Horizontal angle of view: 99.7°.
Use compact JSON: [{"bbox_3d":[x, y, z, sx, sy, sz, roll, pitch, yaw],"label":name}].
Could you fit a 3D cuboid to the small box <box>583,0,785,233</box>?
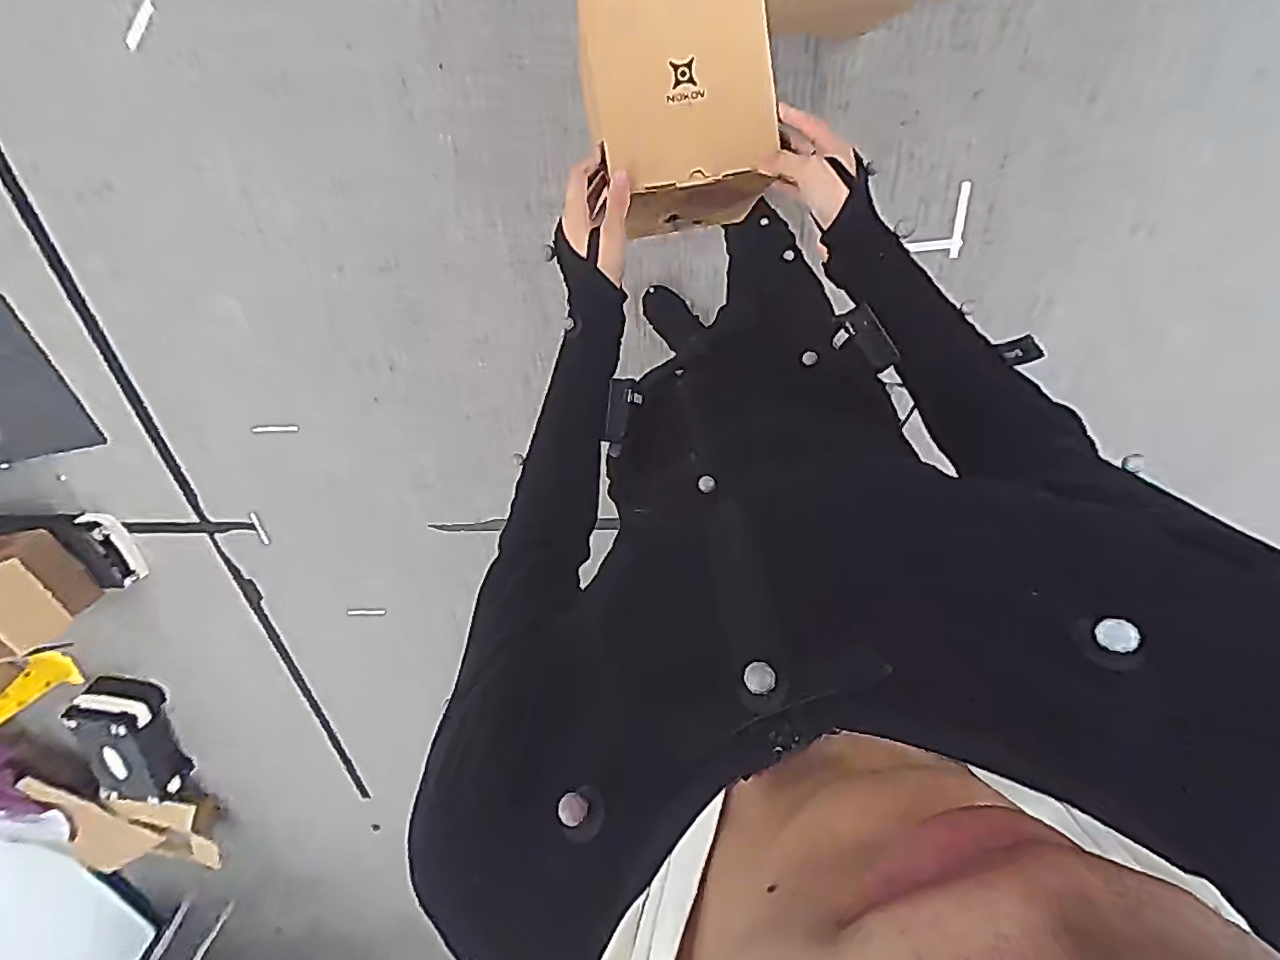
[{"bbox_3d":[0.035,-0.383,0.565,0.168,0.176,0.179,-11,100,-2],"label":"small box"}]
